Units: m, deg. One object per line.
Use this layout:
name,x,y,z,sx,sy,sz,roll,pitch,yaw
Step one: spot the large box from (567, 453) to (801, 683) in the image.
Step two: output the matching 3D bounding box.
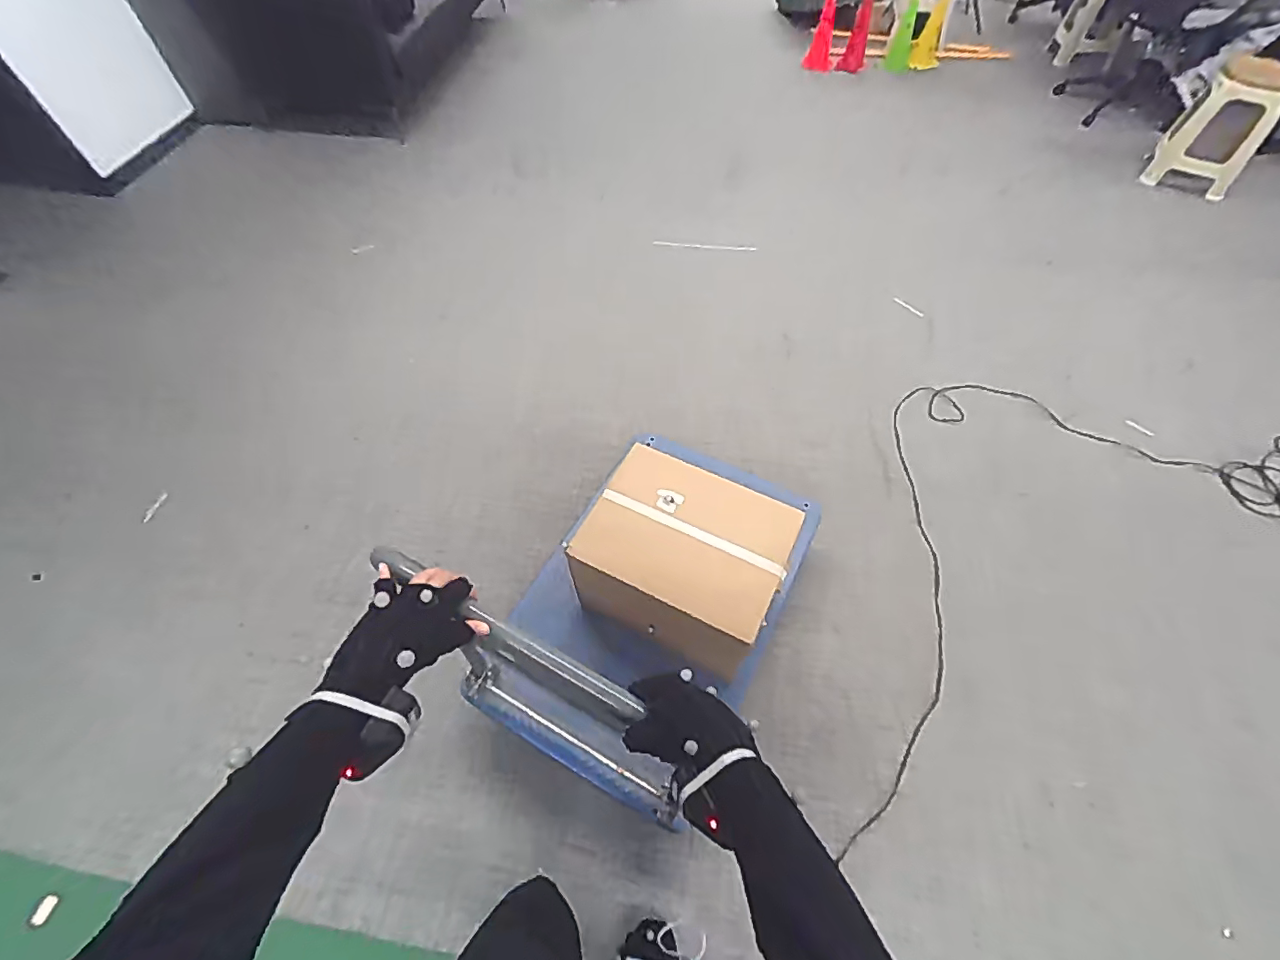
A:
large box,0.102,0.204,1.236,0.408,0.320,0.320,23,59,17
